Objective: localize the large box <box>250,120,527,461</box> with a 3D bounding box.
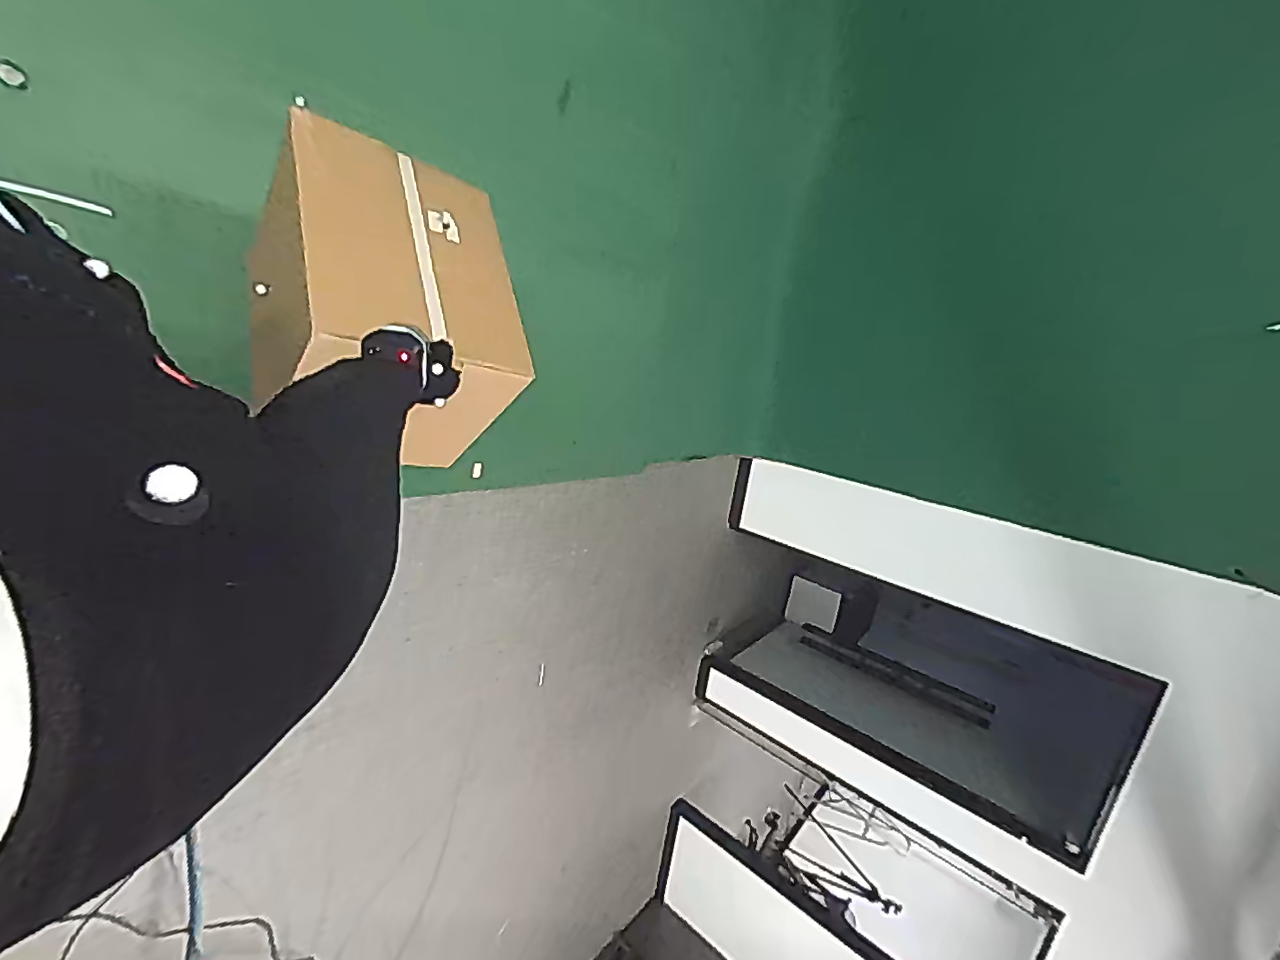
[{"bbox_3d":[-0.441,-0.277,0.917,0.320,0.320,0.408,4,60,-46],"label":"large box"}]
